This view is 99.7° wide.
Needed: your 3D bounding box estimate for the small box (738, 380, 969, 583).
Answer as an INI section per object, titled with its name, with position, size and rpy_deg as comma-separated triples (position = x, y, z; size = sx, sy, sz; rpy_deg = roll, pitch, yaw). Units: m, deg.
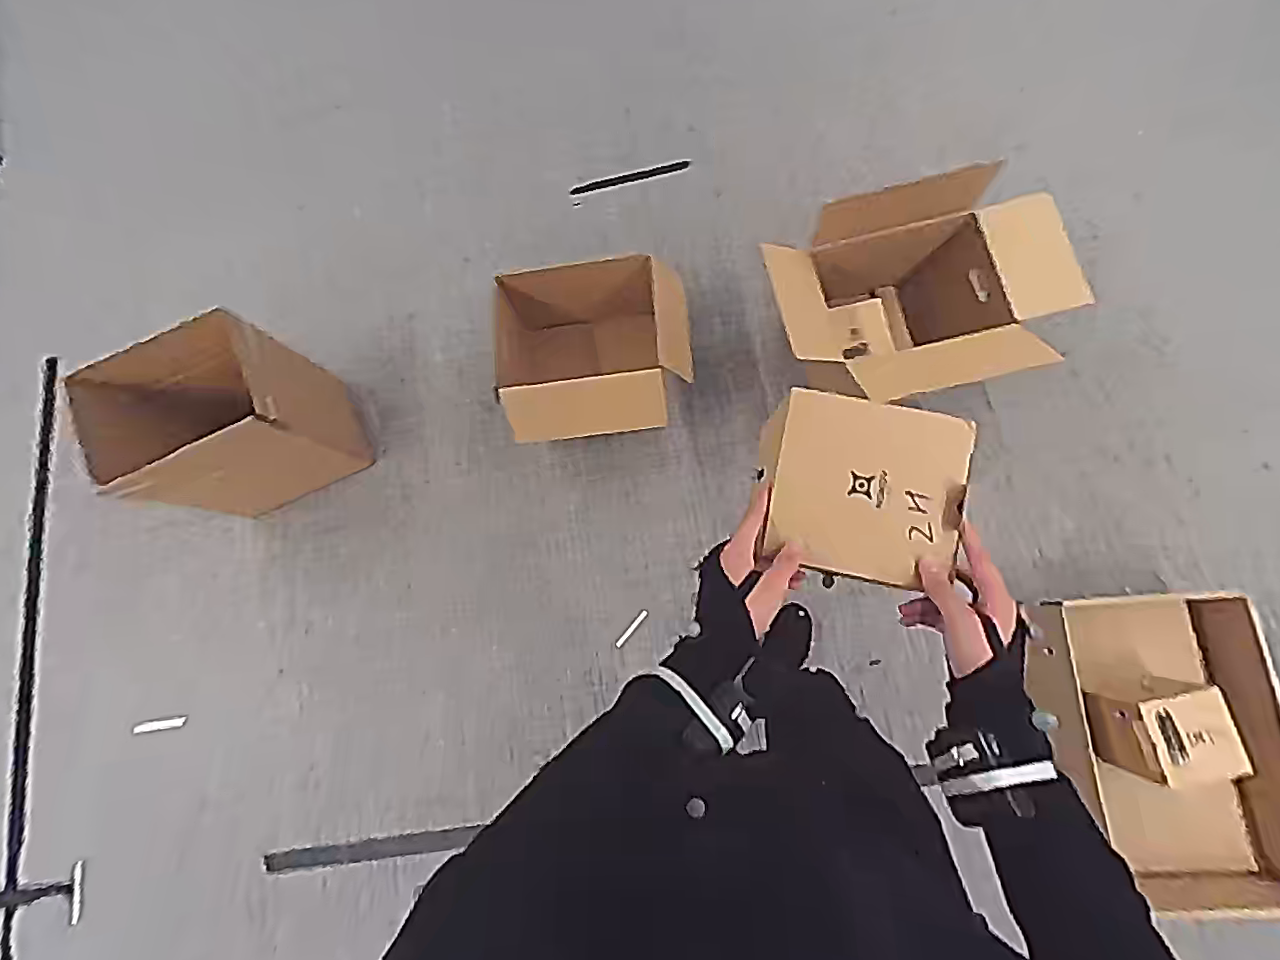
[small box]
position = 0.209, 0.008, 0.578
size = 0.179, 0.176, 0.168
rpy_deg = 11, 84, 4
